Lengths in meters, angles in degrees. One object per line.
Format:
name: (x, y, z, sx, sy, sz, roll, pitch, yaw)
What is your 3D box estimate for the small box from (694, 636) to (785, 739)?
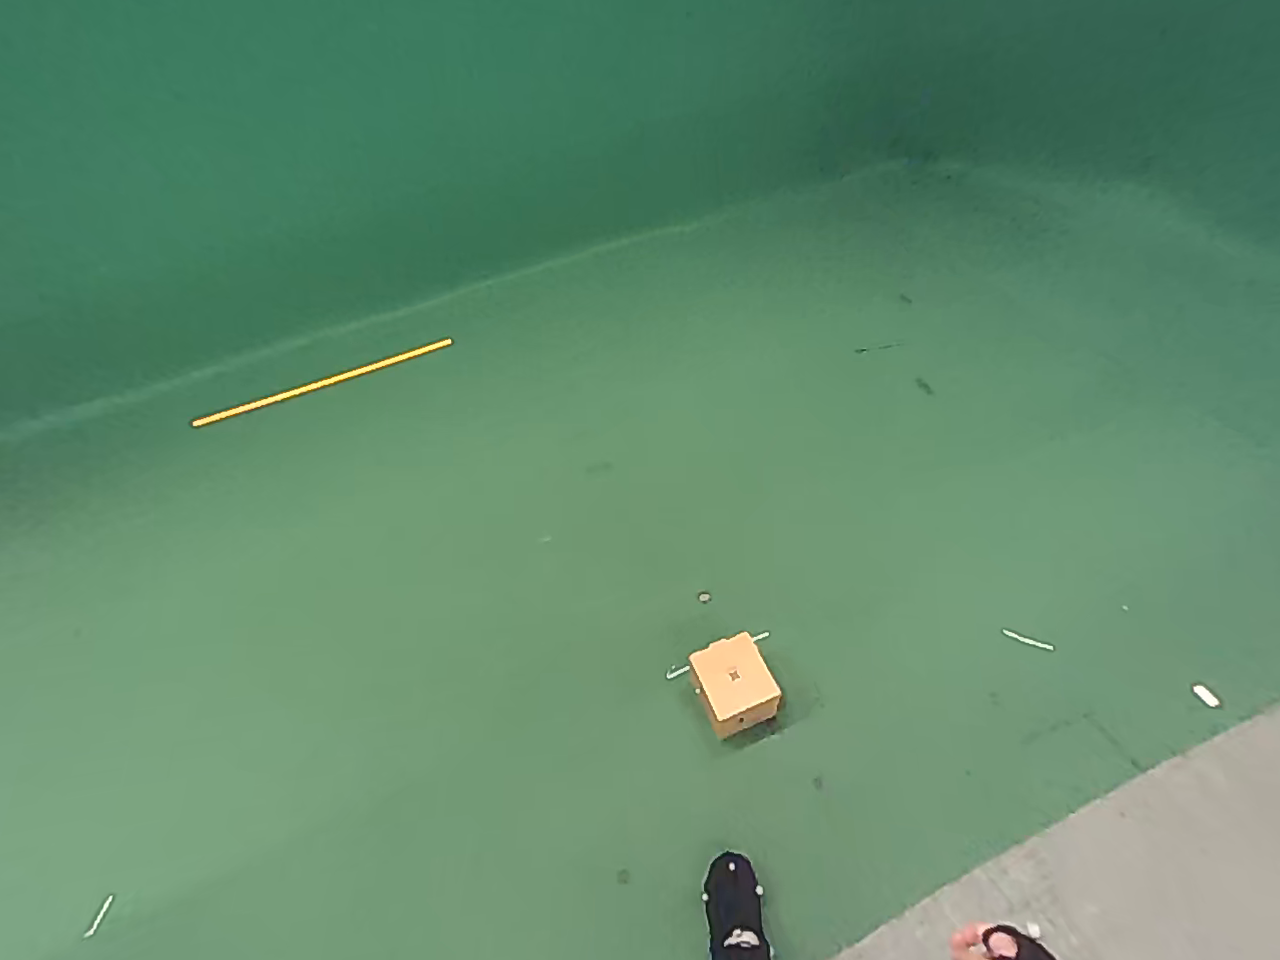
small box: (0.252, 0.536, 1.379, 0.168, 0.176, 0.179, -21, 48, -8)
